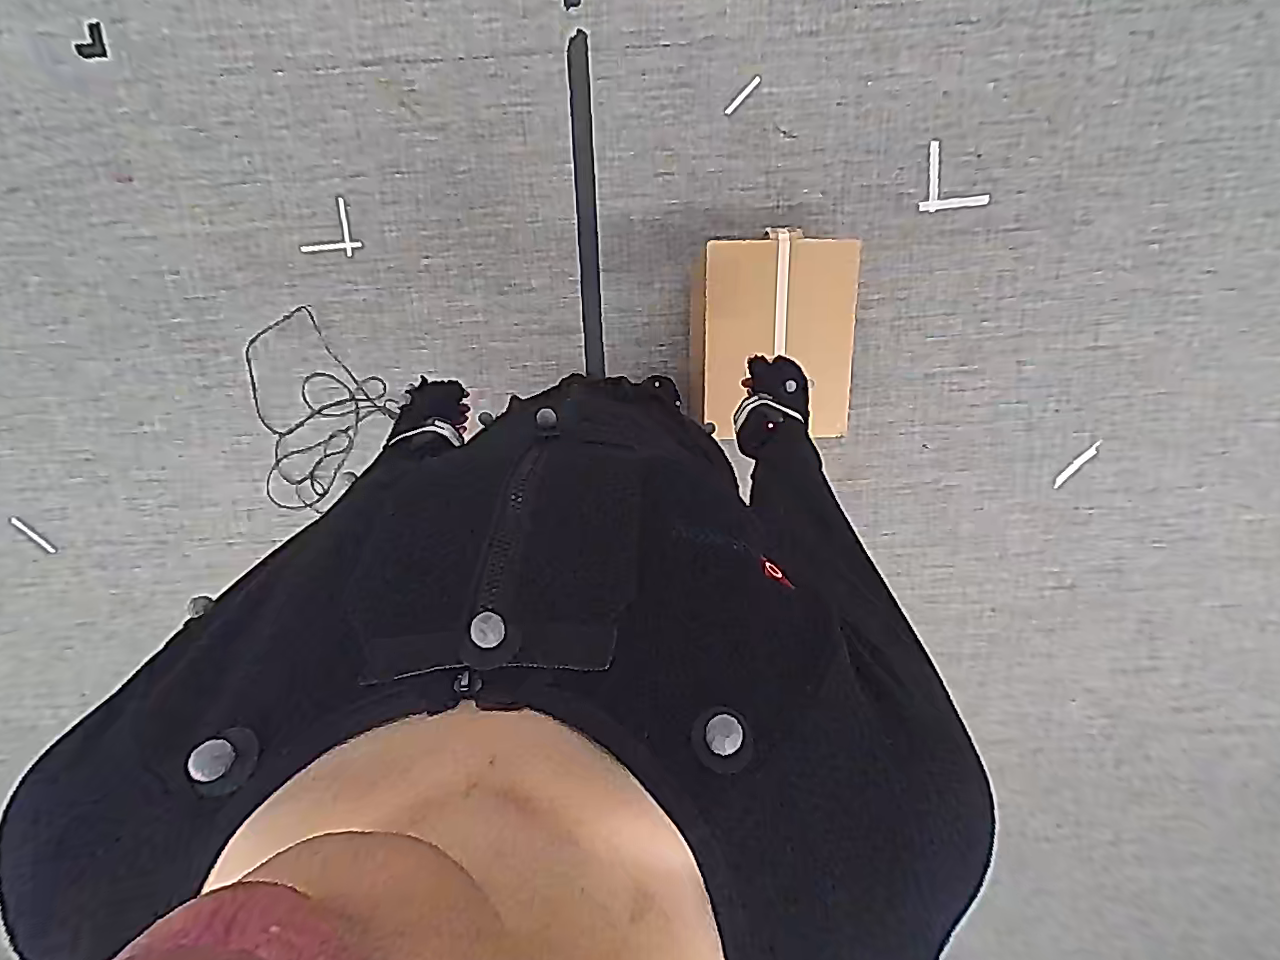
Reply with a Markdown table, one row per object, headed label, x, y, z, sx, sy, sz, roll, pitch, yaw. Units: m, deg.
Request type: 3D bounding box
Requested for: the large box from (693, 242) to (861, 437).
| label | x | y | z | sx | sy | sz | roll | pitch | yaw |
| --- | --- | --- | --- | --- | --- | --- | --- | --- | --- |
| large box | 0.299 | -0.327 | 1.290 | 0.320 | 0.320 | 0.408 | 0 | 104 | -1 |
